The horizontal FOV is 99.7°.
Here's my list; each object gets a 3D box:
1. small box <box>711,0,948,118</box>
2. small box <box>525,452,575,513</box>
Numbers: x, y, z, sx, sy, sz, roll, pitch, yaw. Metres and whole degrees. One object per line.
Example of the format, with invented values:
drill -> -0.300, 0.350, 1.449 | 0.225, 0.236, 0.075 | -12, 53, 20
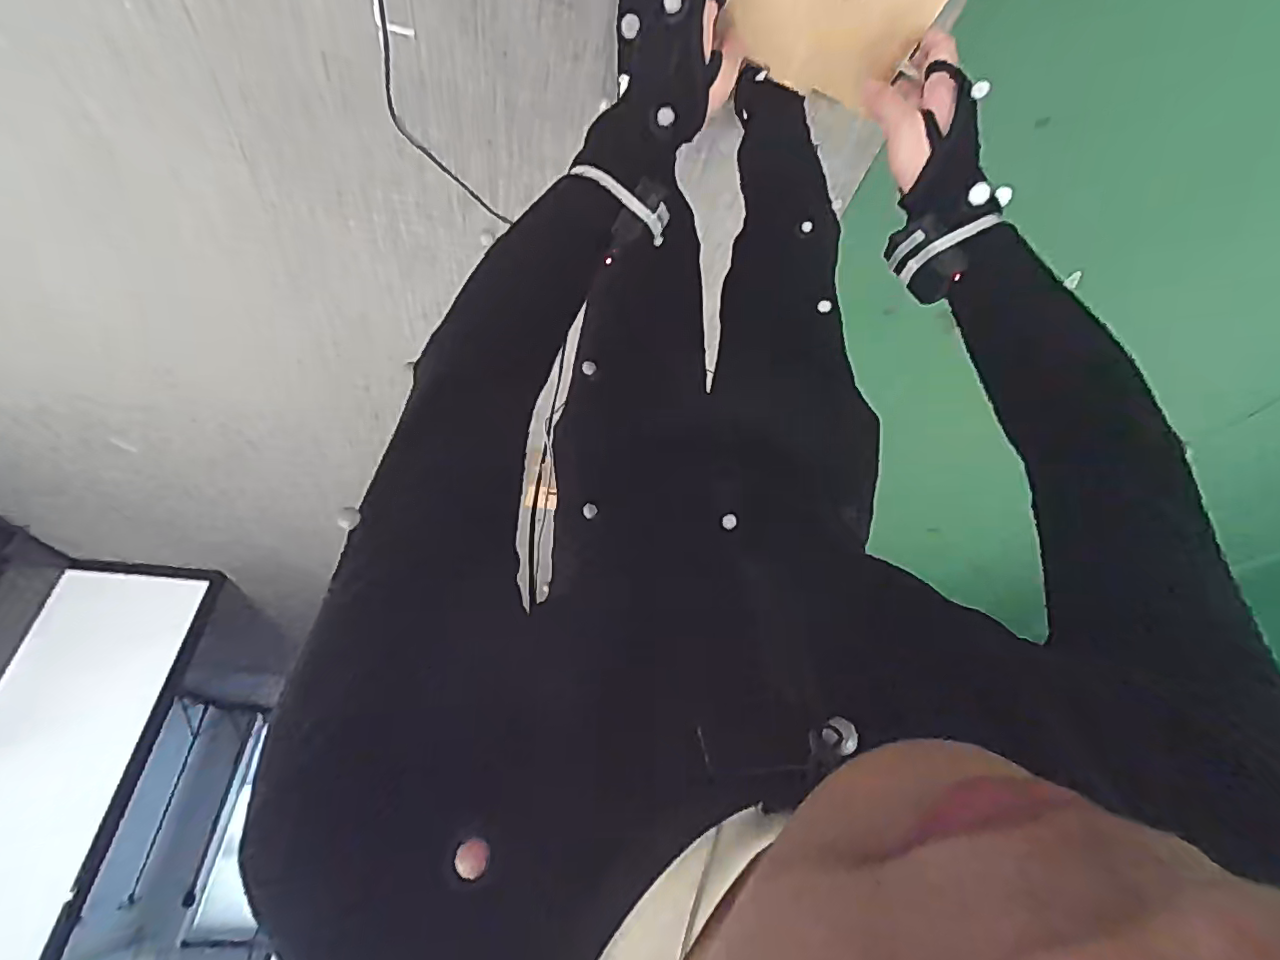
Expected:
small box -> 0.176, -0.473, 0.465 | 0.168, 0.176, 0.179 | 14, 152, -15
small box -> -0.360, 0.009, 2.175 | 0.168, 0.176, 0.179 | 12, 148, -14
